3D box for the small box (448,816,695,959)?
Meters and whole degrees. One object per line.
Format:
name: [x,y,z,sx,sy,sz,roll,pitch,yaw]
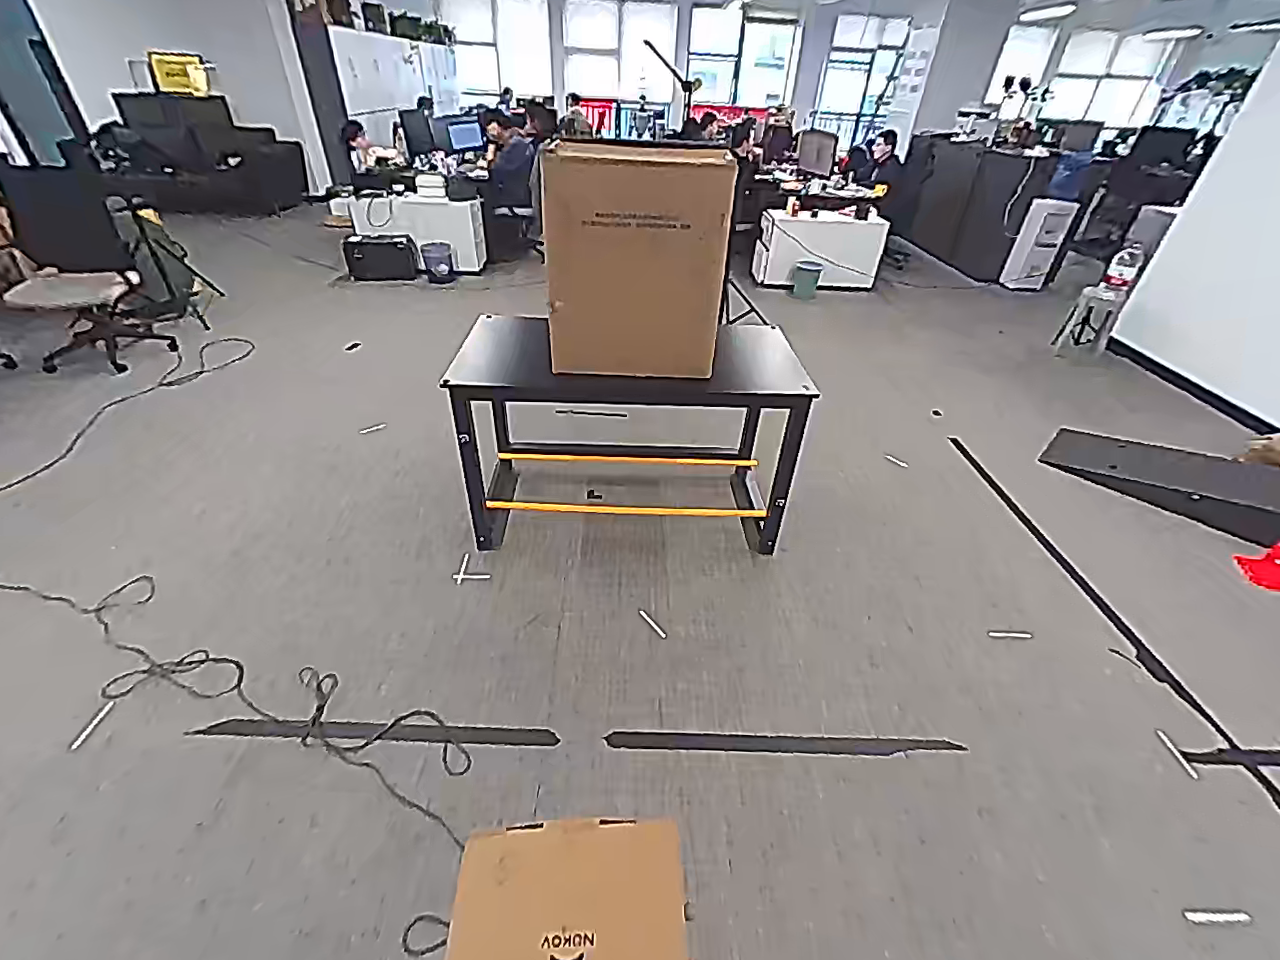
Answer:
small box: [-0.045,0.382,0.403,0.168,0.176,0.179,-2,38,-2]
